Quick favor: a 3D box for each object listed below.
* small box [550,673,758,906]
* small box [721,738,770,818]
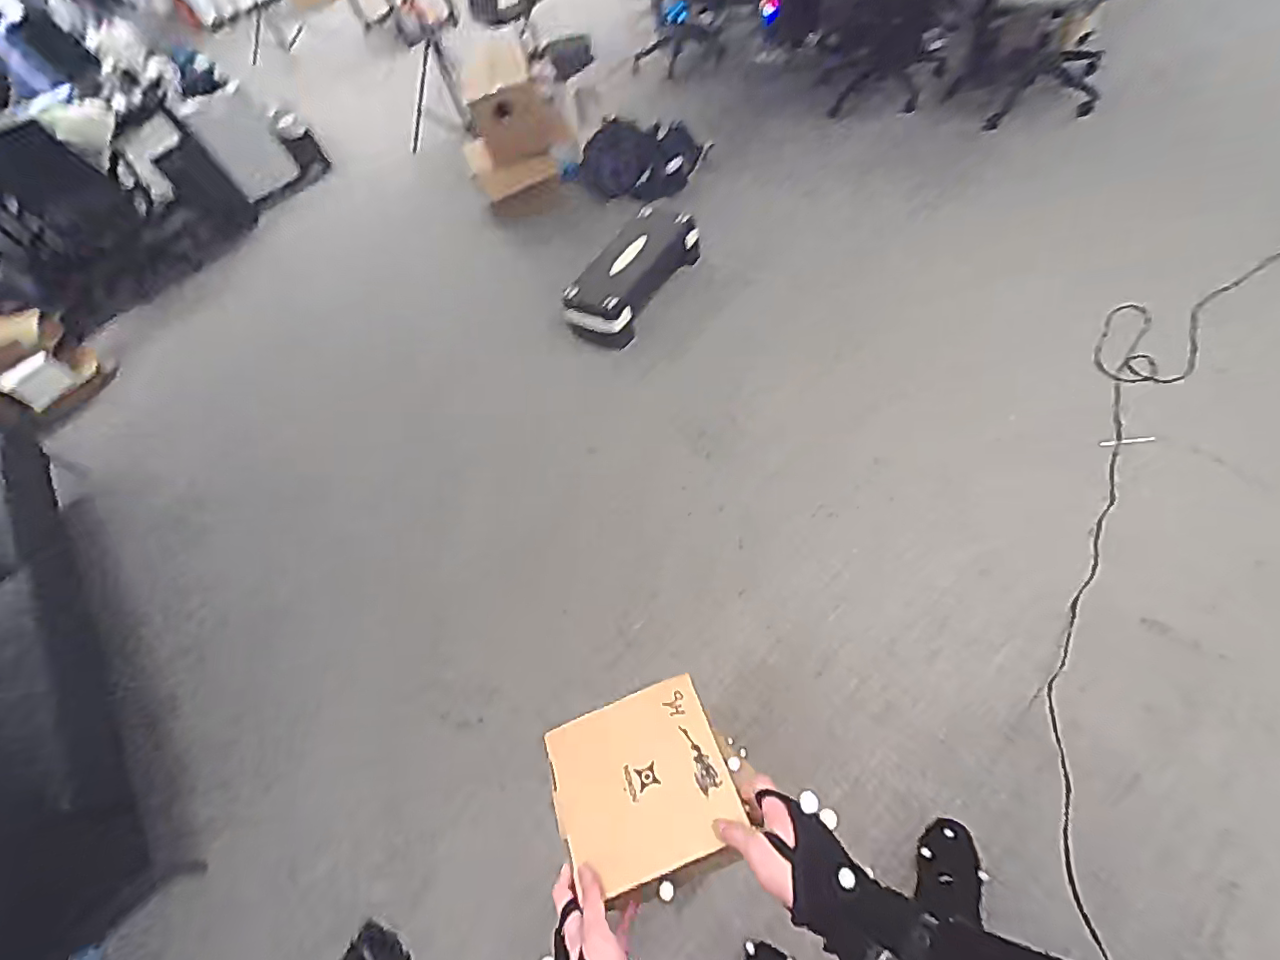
[{"bbox_3d":[0.020,0.352,0.608,0.179,0.176,0.168,-21,50,-2],"label":"small box"},{"bbox_3d":[0.146,0.629,1.104,0.179,0.176,0.168,36,73,31],"label":"small box"}]
